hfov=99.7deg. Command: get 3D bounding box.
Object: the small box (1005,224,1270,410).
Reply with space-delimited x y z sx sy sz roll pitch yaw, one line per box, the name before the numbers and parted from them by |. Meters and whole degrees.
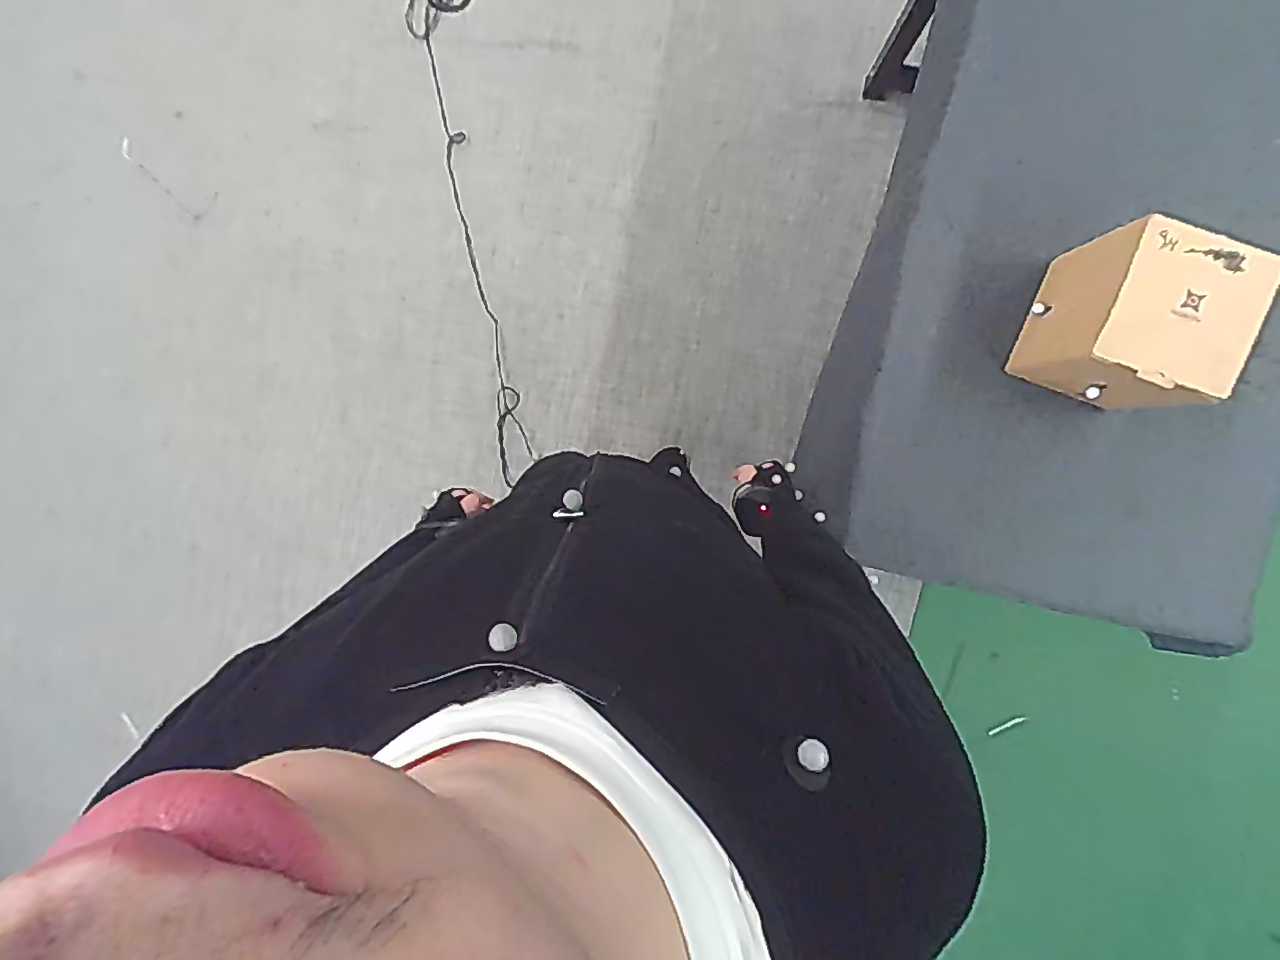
small box | 0.633 -0.200 0.720 0.168 0.176 0.179 21 96 1
